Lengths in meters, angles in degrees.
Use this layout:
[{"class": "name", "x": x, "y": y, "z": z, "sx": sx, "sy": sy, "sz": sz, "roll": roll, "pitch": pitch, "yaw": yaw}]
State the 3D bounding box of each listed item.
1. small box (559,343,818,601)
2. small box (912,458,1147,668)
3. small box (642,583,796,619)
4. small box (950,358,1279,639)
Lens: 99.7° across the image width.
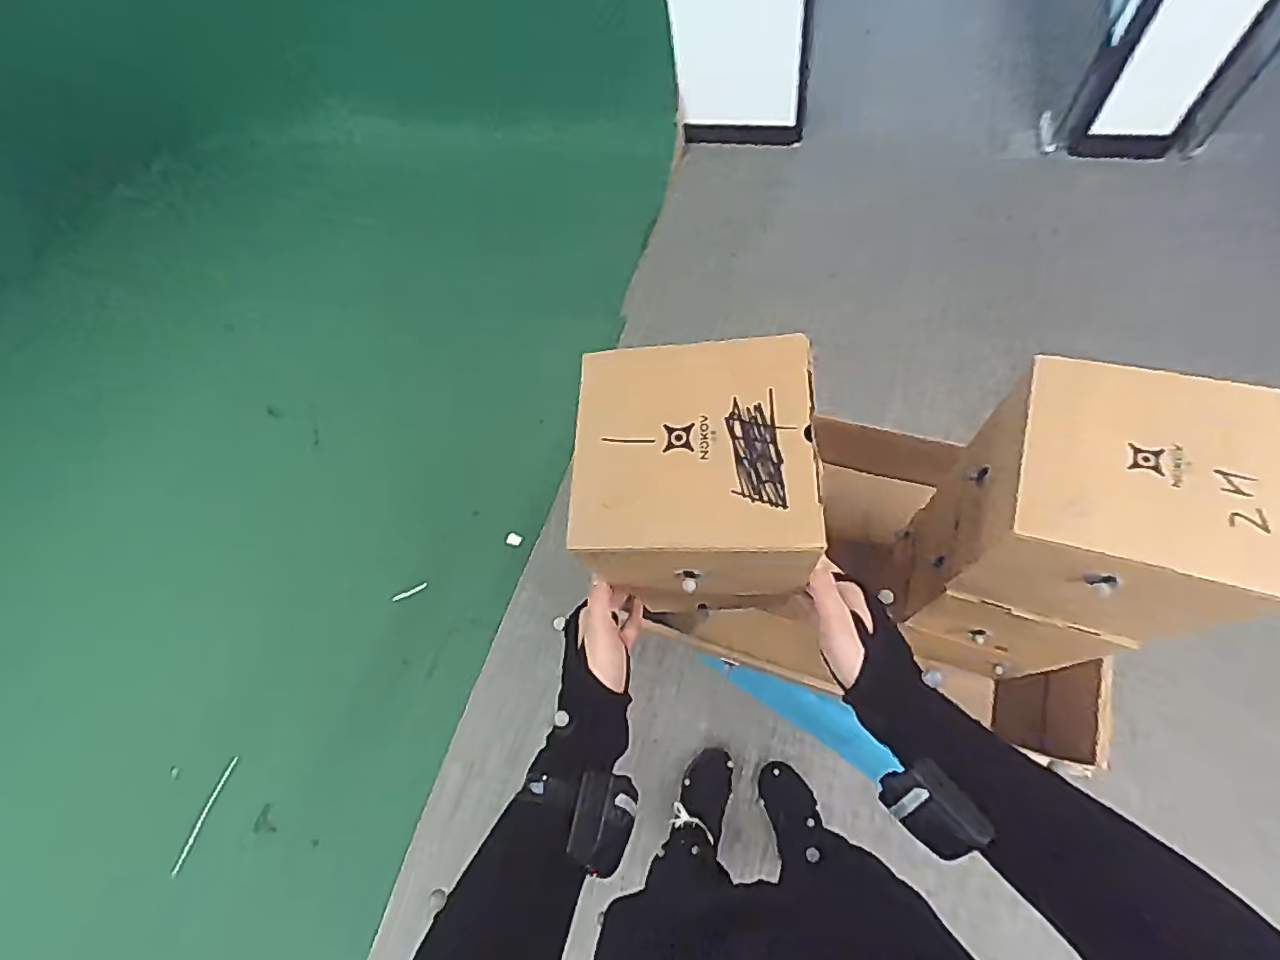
[{"class": "small box", "x": 0.047, "y": 0.006, "z": 0.461, "sx": 0.179, "sy": 0.176, "sz": 0.168, "roll": -2, "pitch": 67, "yaw": 12}, {"class": "small box", "x": 0.425, "y": 0.093, "z": 0.609, "sx": 0.168, "sy": 0.176, "sz": 0.179, "roll": 15, "pitch": 70, "yaw": 18}, {"class": "small box", "x": 0.077, "y": 0.055, "z": 0.615, "sx": 0.168, "sy": 0.176, "sz": 0.179, "roll": -5, "pitch": 67, "yaw": 9}, {"class": "small box", "x": 0.392, "y": 0.024, "z": 0.463, "sx": 0.179, "sy": 0.176, "sz": 0.168, "roll": 15, "pitch": 70, "yaw": 18}]
